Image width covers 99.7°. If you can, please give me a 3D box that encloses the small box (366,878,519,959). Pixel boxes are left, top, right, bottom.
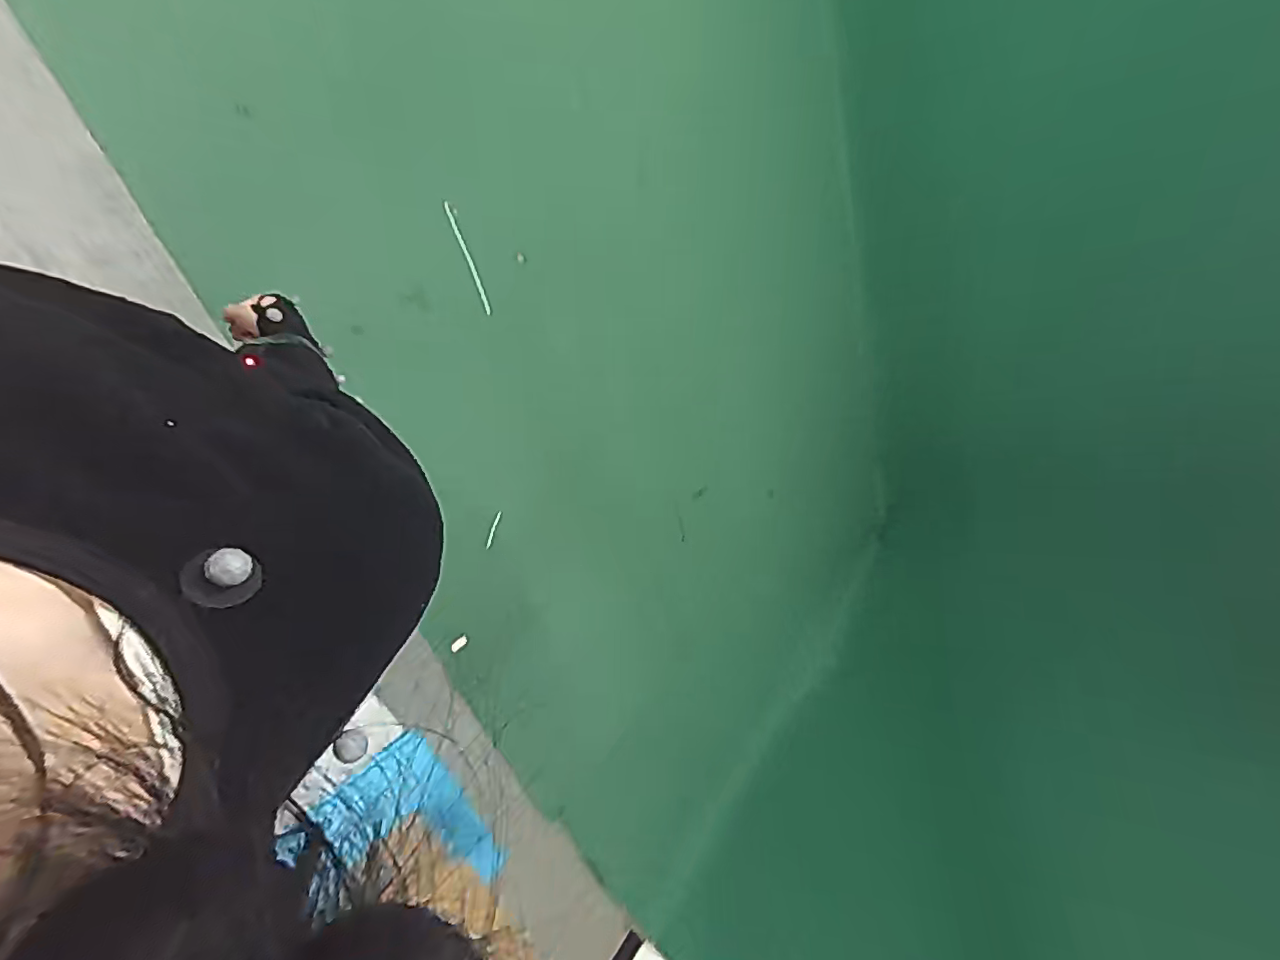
[{"bbox_3d":[-0.290,0.765,0.829,0.168,0.176,0.179,-34,121,-36],"label":"small box"}]

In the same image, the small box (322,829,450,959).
[{"bbox_3d":[-0.412,0.751,0.934,0.168,0.176,0.179,-35,121,-35],"label":"small box"}]
